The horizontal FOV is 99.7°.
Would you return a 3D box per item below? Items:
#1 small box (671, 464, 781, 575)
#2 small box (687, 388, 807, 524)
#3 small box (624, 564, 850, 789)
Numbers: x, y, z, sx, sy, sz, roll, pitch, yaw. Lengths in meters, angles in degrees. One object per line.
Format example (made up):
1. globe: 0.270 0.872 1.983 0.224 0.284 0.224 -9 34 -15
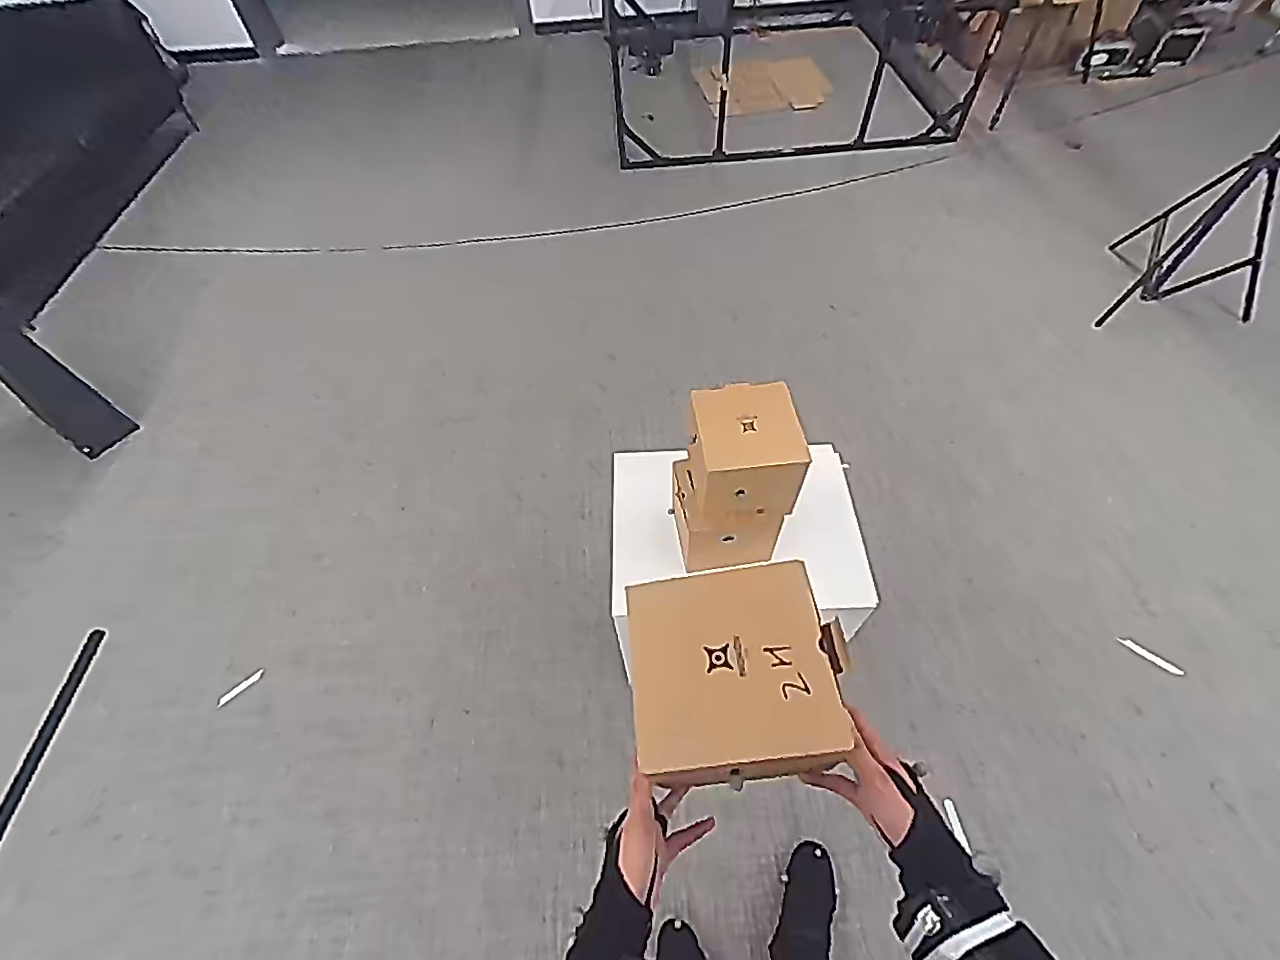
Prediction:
1. small box: 0.161 0.073 1.072 0.179 0.176 0.168 -8 55 -3
2. small box: 0.176 -0.034 0.948 0.168 0.176 0.179 -6 54 -1
3. small box: 0.089 0.204 0.543 0.179 0.176 0.168 -10 56 4
